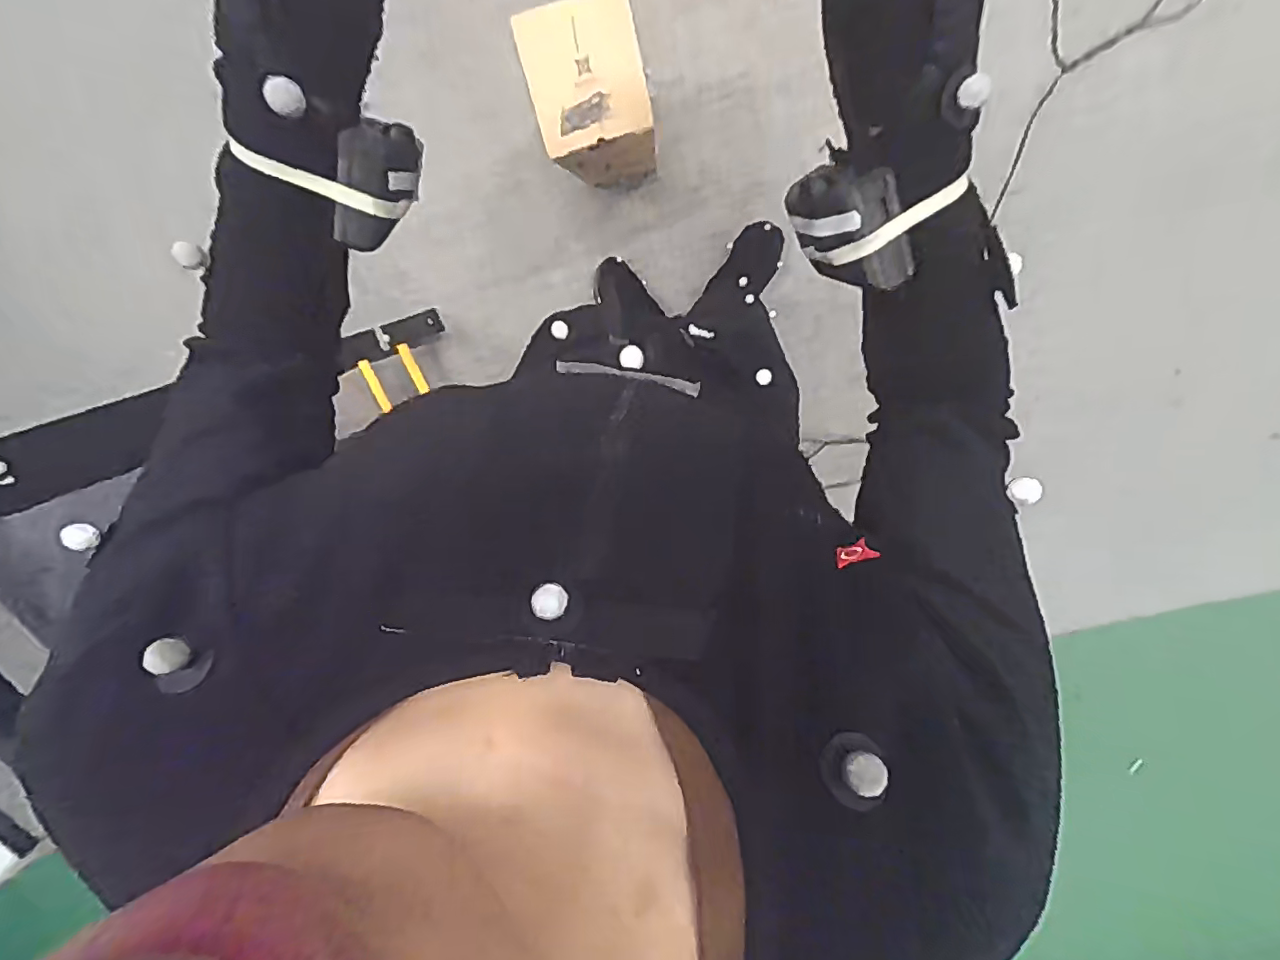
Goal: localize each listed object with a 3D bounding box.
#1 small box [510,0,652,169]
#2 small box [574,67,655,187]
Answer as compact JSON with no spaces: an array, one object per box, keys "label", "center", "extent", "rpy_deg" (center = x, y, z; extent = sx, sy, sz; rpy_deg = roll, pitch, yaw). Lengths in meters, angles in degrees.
[{"label":"small box","center":[-0.079,-0.603,0.841],"extent":[0.168,0.176,0.179],"rpy_deg":[-12,113,7]},{"label":"small box","center":[-0.063,-0.736,1.138],"extent":[0.168,0.176,0.179],"rpy_deg":[-10,113,7]}]
